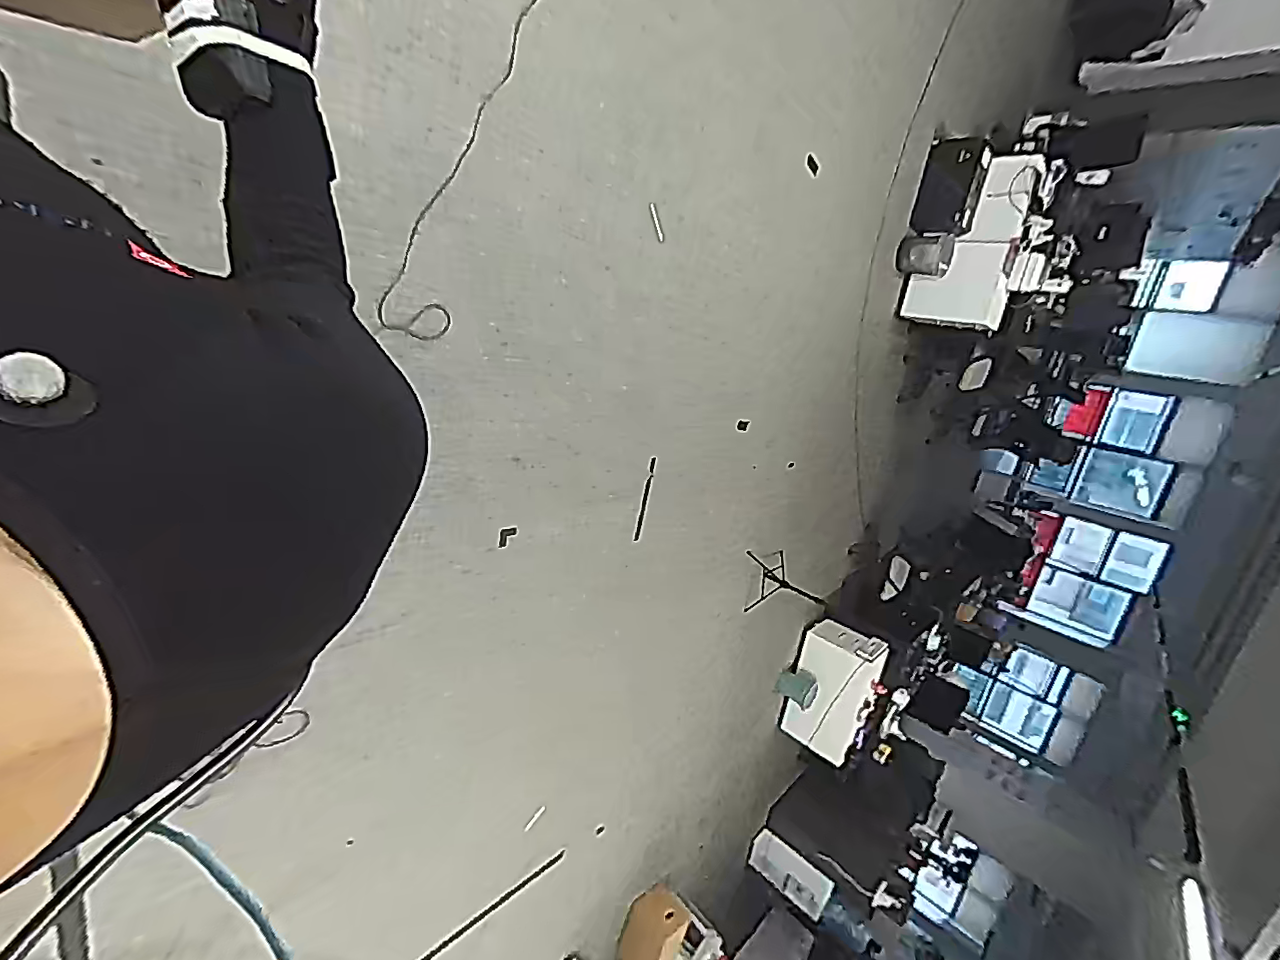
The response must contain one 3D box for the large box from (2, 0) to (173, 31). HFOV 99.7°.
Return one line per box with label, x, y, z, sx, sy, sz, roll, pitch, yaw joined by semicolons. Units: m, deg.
large box;-0.524;-0.493;0.264;0.408;0.320;0.320;-19;126;-46
